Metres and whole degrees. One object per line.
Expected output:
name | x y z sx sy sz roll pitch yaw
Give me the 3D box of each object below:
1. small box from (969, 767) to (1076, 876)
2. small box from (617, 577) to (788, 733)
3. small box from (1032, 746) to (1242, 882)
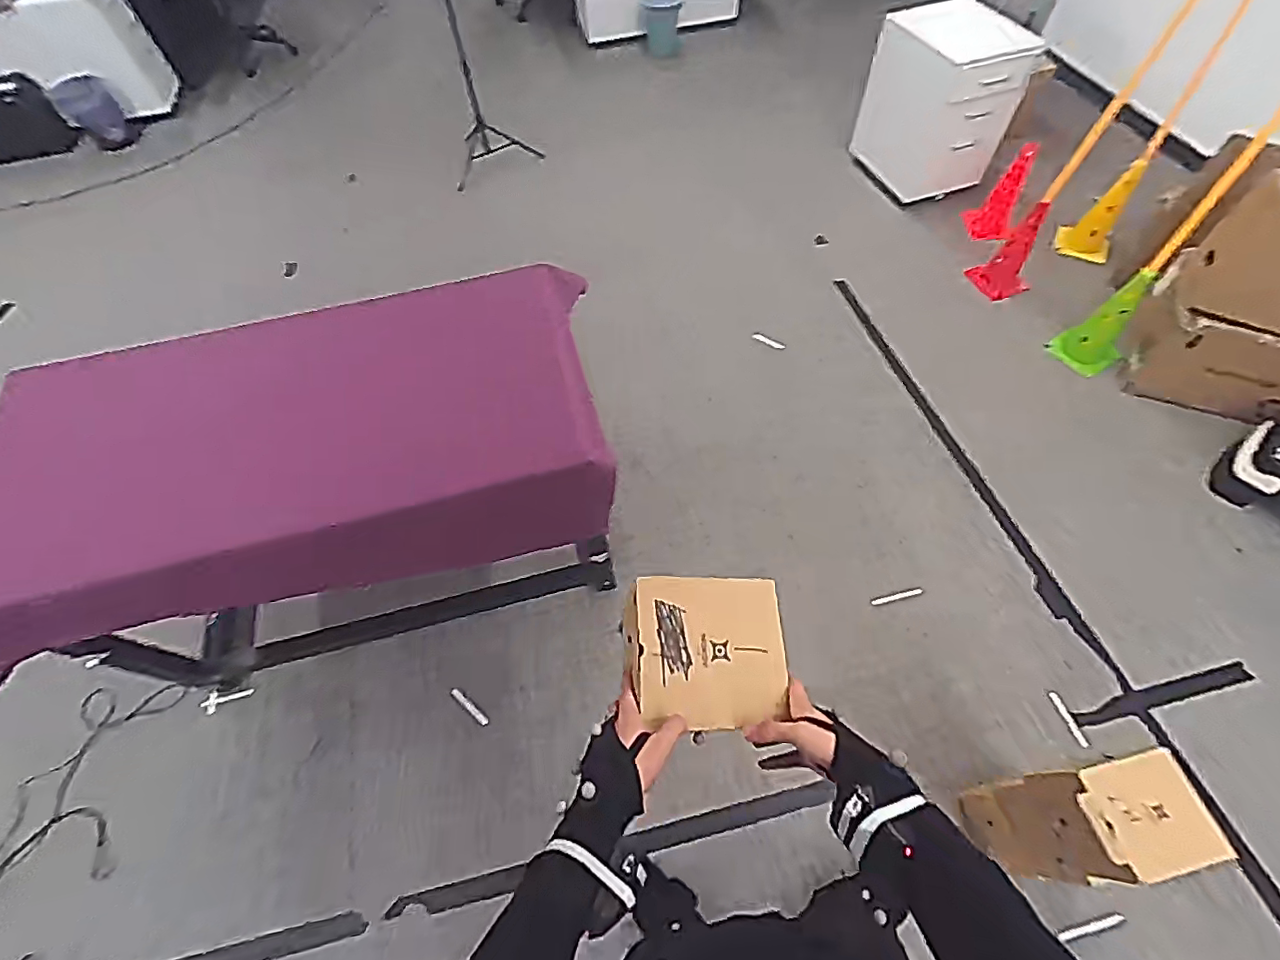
small box | 0.892 0.773 1.232 0.179 0.176 0.168 -17 60 -7
small box | 0.062 0.223 0.676 0.179 0.176 0.168 1 65 -8
small box | 0.861 0.585 0.961 0.179 0.176 0.168 -12 60 -4
